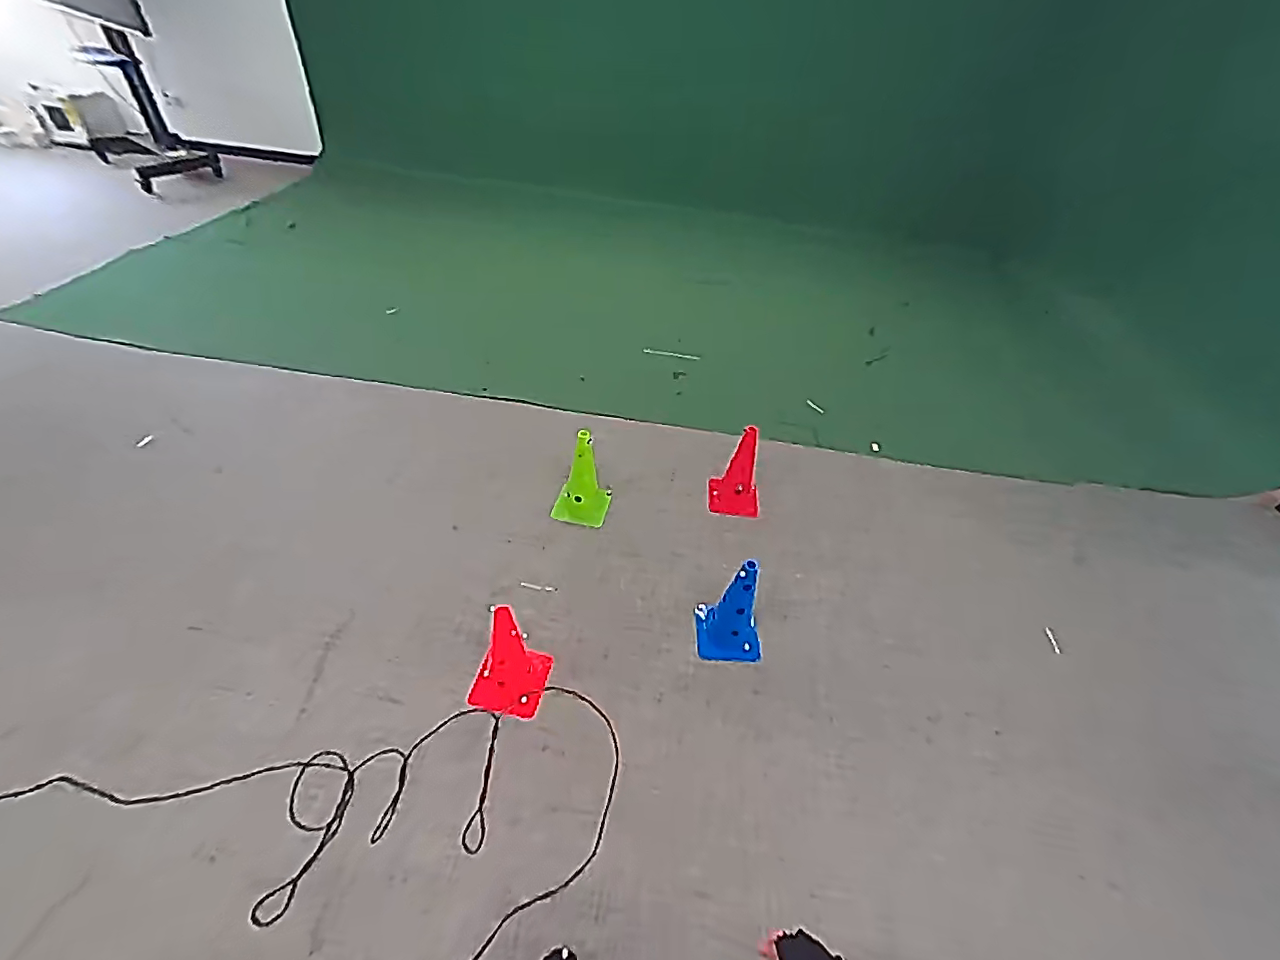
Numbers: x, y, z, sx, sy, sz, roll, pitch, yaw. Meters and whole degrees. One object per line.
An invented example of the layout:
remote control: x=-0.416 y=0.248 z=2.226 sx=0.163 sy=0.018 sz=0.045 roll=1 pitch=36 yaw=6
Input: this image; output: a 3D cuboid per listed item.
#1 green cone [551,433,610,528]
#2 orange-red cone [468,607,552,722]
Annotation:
green cone: x=-0.216 y=-0.025 z=1.977 sx=0.200 sy=0.368 sz=0.202 roll=10 pitch=44 yaw=4
orange-red cone: x=-0.352 y=0.455 z=1.442 sx=0.198 sy=0.360 sz=0.199 roll=13 pitch=41 yaw=5
